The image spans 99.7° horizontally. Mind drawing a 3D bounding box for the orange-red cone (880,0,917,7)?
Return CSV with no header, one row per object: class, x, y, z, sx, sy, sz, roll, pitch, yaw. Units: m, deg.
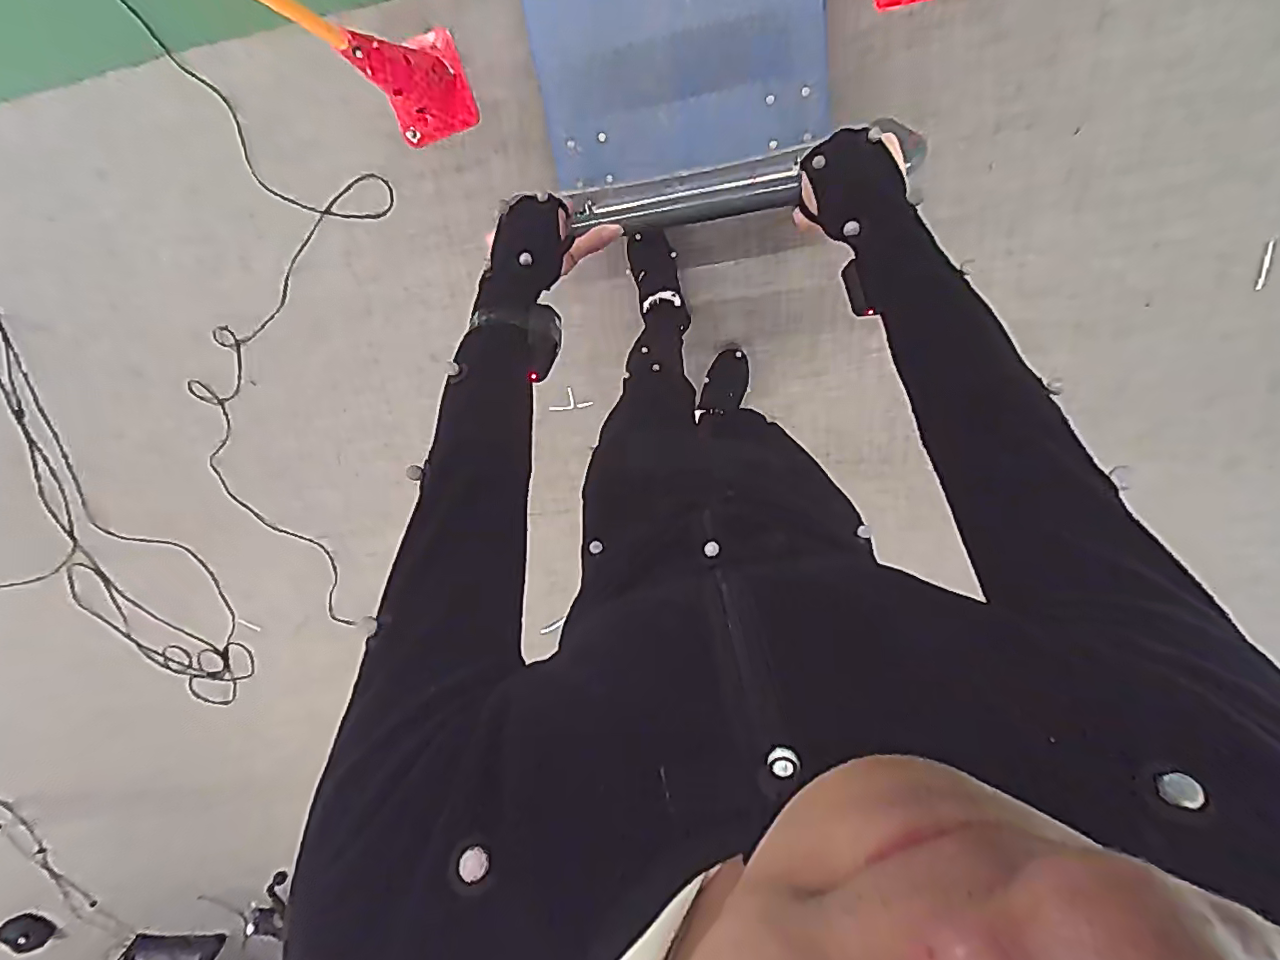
orange-red cone,0.569,-1.026,0.934,0.198,0.360,0.199,-6,111,8
